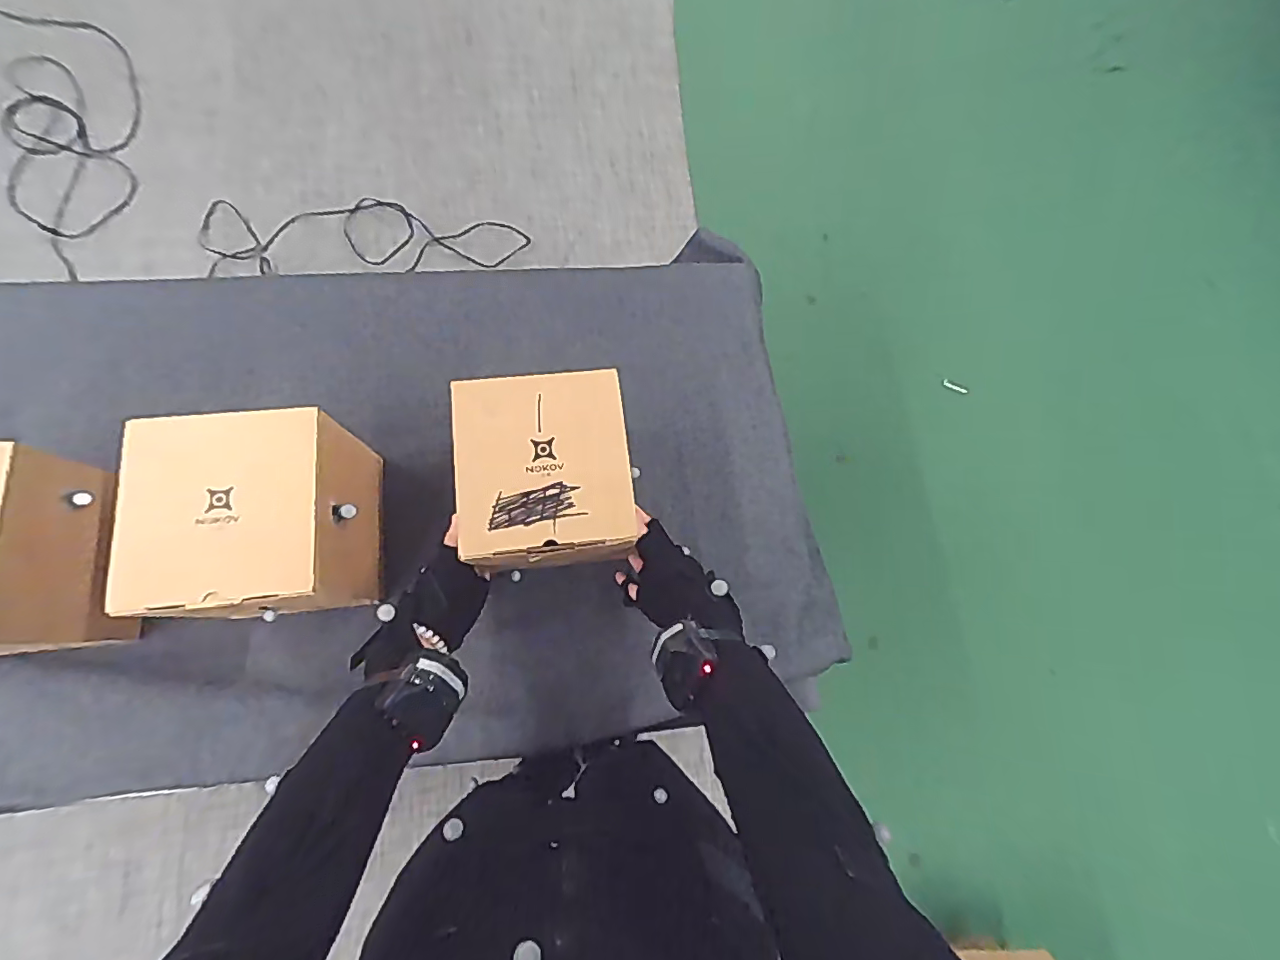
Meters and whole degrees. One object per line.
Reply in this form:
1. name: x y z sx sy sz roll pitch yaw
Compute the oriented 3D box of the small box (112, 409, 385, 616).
1. small box: -0.375 0.042 0.555 0.168 0.176 0.179 -5 77 -8
